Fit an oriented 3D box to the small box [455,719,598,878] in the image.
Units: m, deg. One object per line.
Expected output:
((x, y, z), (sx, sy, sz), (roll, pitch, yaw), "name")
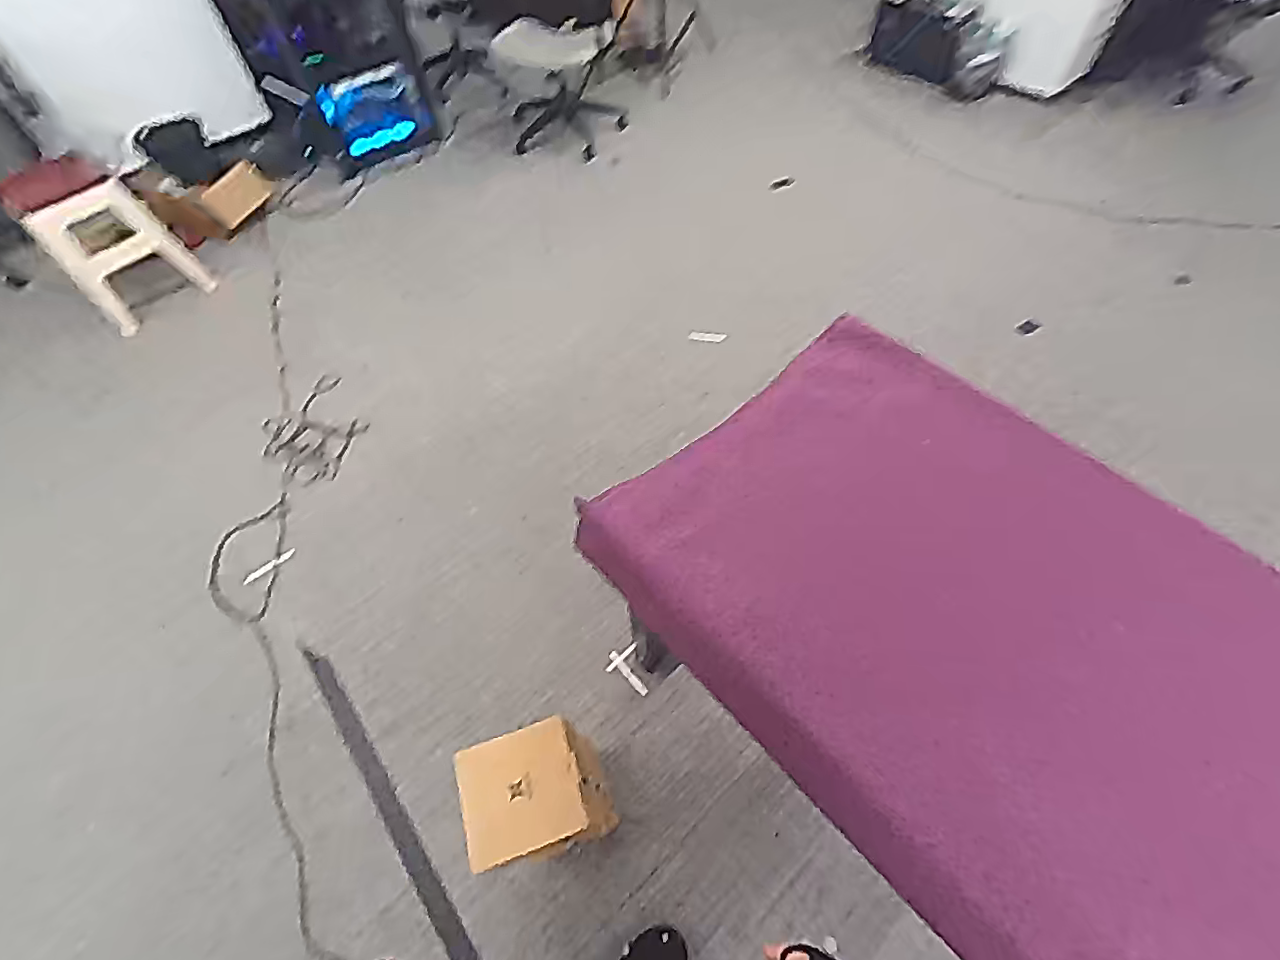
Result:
((-0.178, 0.516, 0.878), (0.179, 0.176, 0.168), (-18, 58, -10), "small box")

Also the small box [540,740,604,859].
((-0.167, 0.605, 1.014), (0.179, 0.176, 0.168), (-13, 57, -5), "small box")
